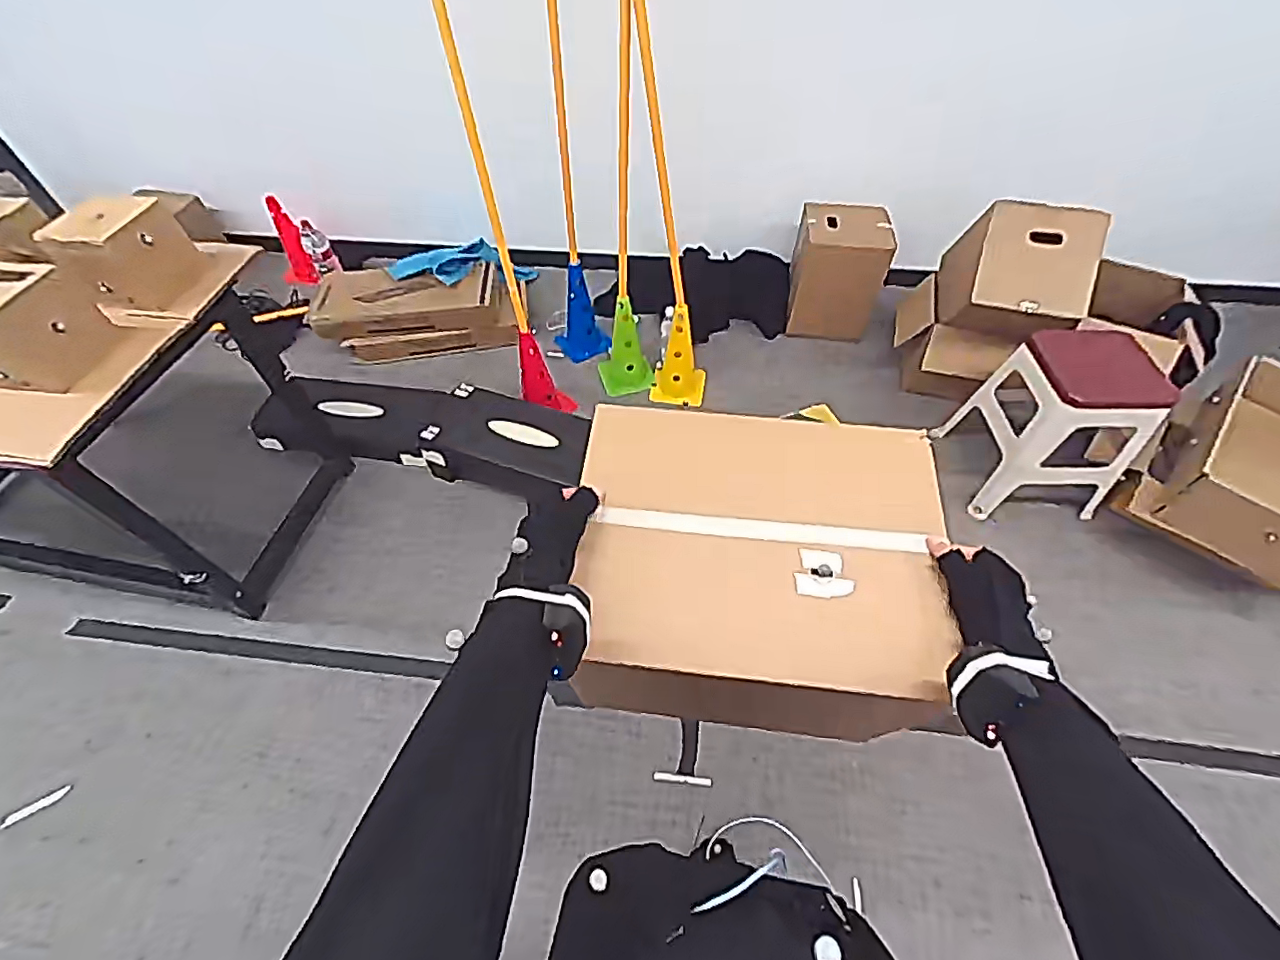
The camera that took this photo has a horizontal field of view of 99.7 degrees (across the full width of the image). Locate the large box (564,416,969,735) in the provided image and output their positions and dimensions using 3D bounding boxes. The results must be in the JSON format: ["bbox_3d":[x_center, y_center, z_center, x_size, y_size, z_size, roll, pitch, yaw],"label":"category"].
[{"bbox_3d":[0.136,0.140,0.731,0.408,0.320,0.320,6,60,5],"label":"large box"}]
